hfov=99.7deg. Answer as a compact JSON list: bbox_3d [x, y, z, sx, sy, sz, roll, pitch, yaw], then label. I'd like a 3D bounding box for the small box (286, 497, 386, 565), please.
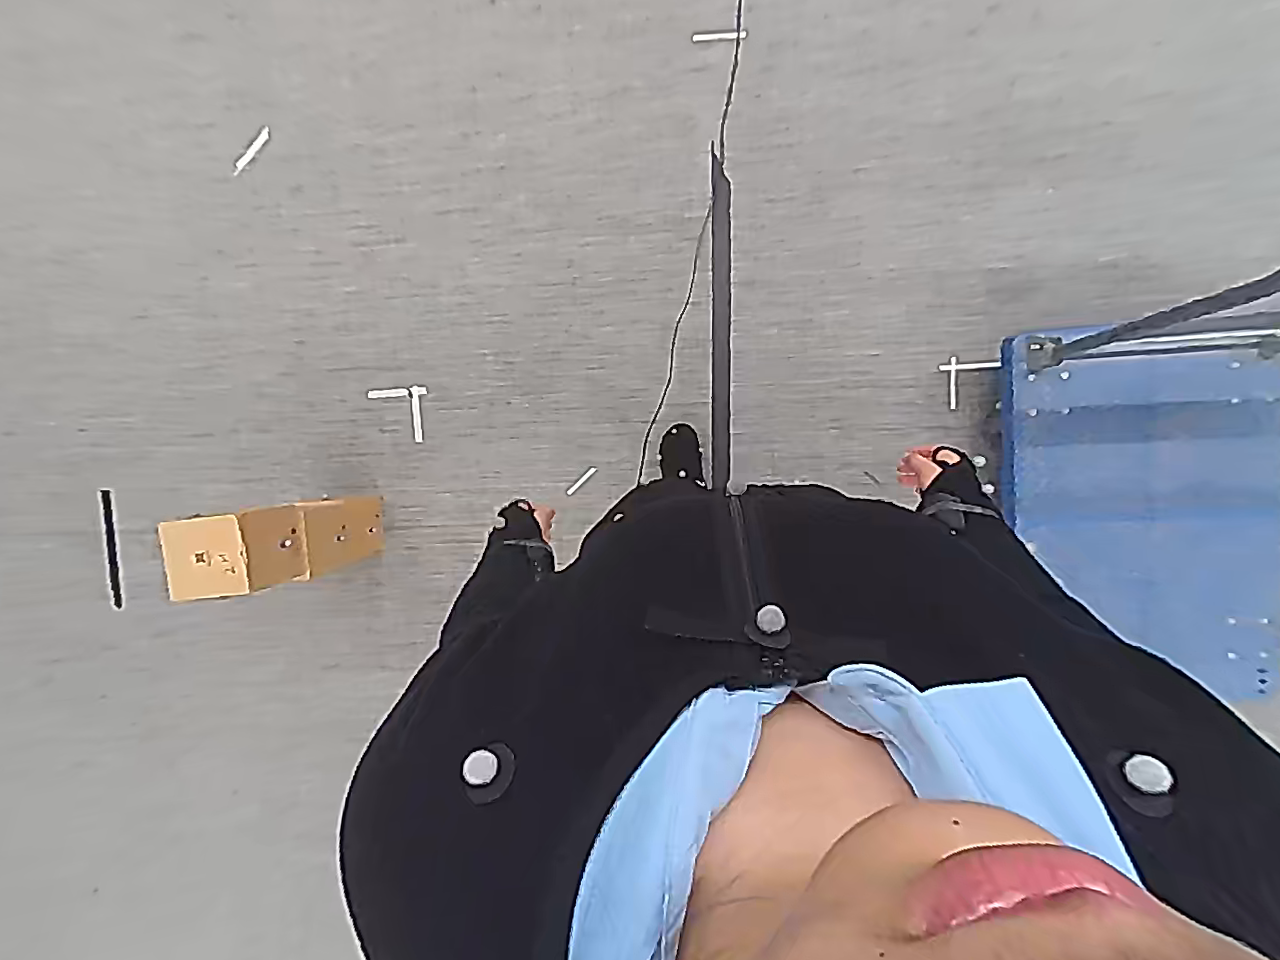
[{"bbox_3d":[-0.831,0.137,1.491,0.179,0.176,0.168,-3,93,4],"label":"small box"}]

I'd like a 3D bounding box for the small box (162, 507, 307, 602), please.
[{"bbox_3d":[-0.862,0.153,1.163,0.179,0.176,0.168,-7,94,3],"label":"small box"}]
